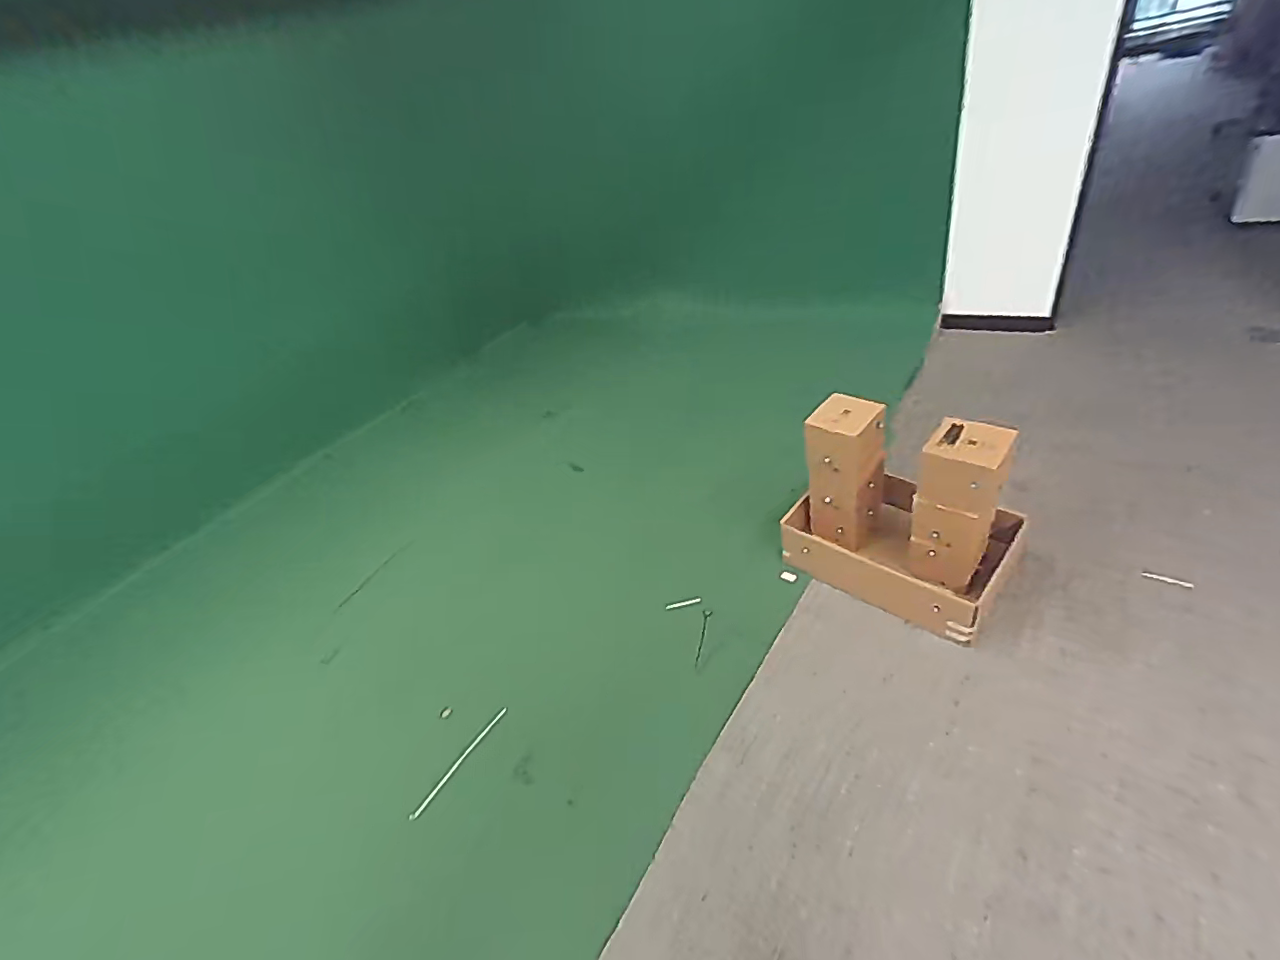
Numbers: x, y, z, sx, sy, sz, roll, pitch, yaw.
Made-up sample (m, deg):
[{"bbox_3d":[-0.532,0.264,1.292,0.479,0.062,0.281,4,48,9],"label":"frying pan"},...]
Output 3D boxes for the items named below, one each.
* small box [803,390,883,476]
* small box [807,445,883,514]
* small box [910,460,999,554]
[{"bbox_3d":[0.615,-0.145,1.646,0.179,0.176,0.168,-41,45,-25],"label":"small box"},{"bbox_3d":[0.658,-0.023,1.748,0.179,0.176,0.168,-40,44,-23],"label":"small box"},{"bbox_3d":[0.888,0.075,1.541,0.168,0.176,0.179,23,54,40],"label":"small box"}]
